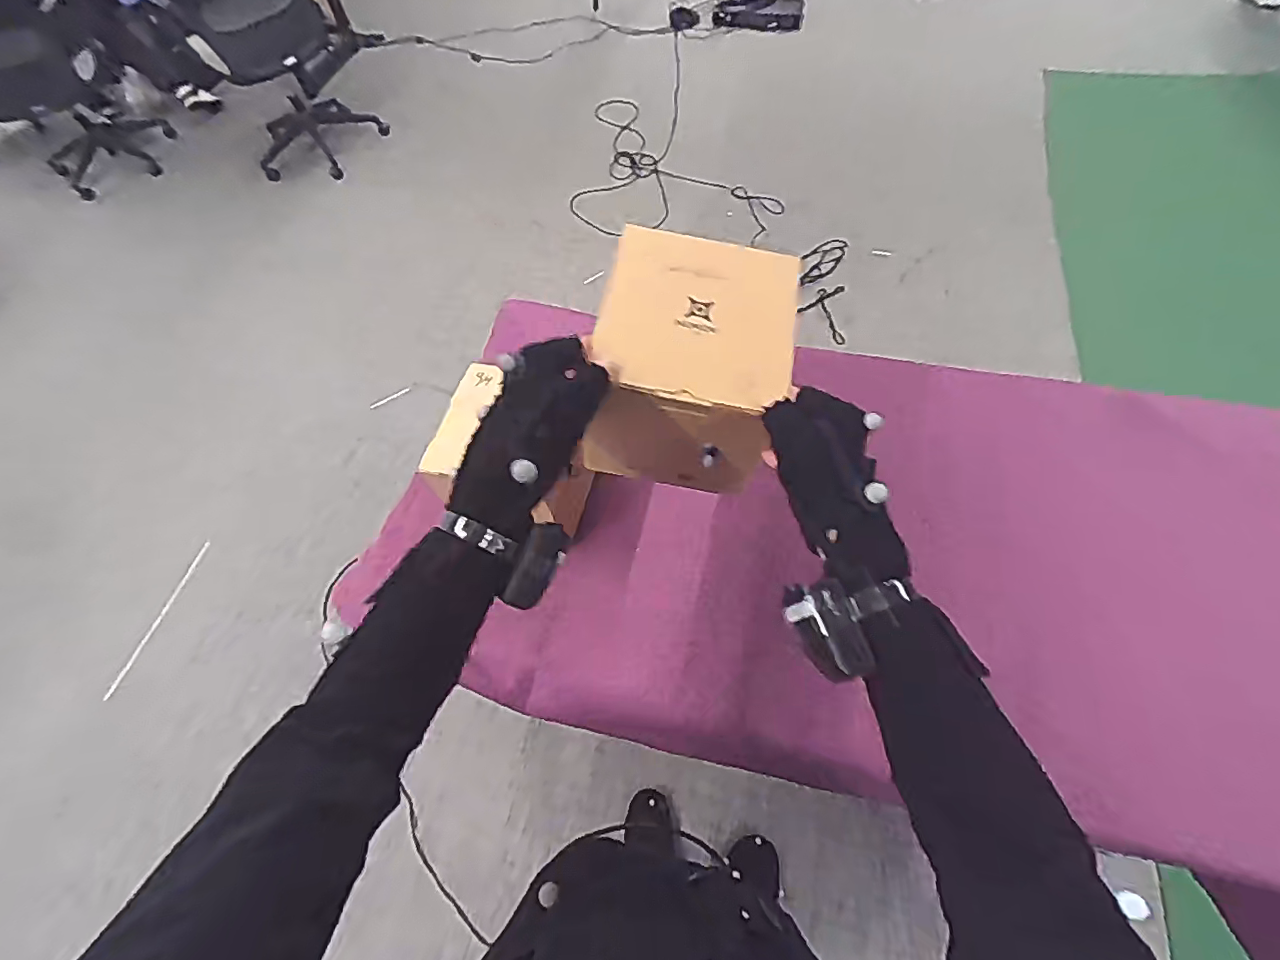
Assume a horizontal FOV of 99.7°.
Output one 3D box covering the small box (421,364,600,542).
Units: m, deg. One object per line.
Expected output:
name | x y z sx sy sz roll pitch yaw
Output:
small box | -0.162 -0.031 0.748 0.168 0.176 0.179 10 63 11

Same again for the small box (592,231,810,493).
small box | 0.054 -0.104 0.532 0.168 0.176 0.179 11 66 1
